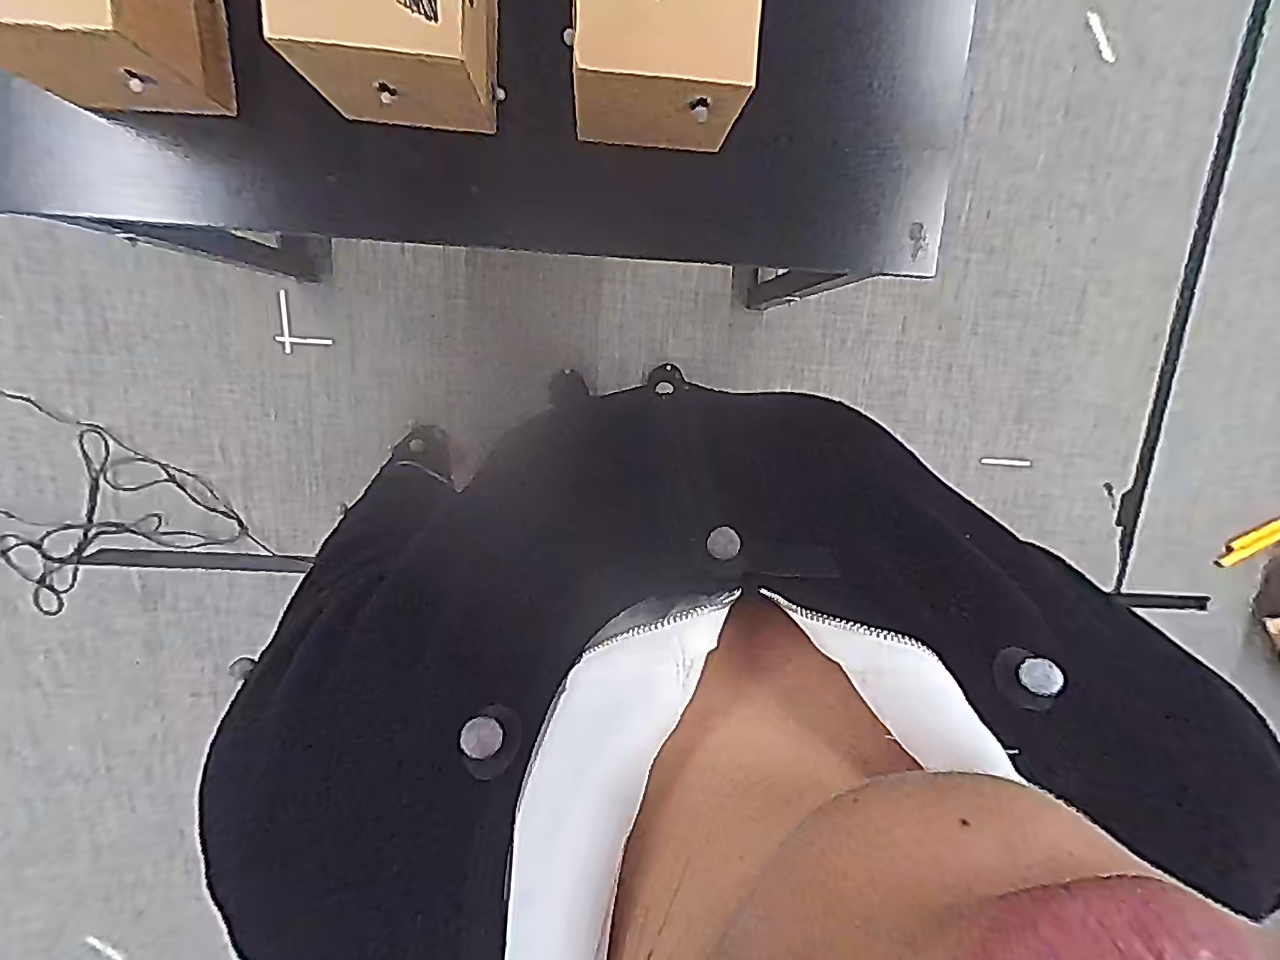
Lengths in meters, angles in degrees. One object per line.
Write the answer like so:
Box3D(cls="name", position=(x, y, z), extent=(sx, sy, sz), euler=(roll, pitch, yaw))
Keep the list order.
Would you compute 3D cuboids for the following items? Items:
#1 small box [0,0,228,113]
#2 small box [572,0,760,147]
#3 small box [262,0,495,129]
Box3D(cls="small box", position=(-0.543, -0.486, 0.526), extent=(0.179, 0.176, 0.168), euler=(-1, 102, -4))
Box3D(cls="small box", position=(0.021, -0.477, 0.573), extent=(0.179, 0.176, 0.168), euler=(2, 102, -5))
Box3D(cls="small box", position=(-0.248, -0.485, 0.550), extent=(0.179, 0.176, 0.168), euler=(3, 102, -4))
